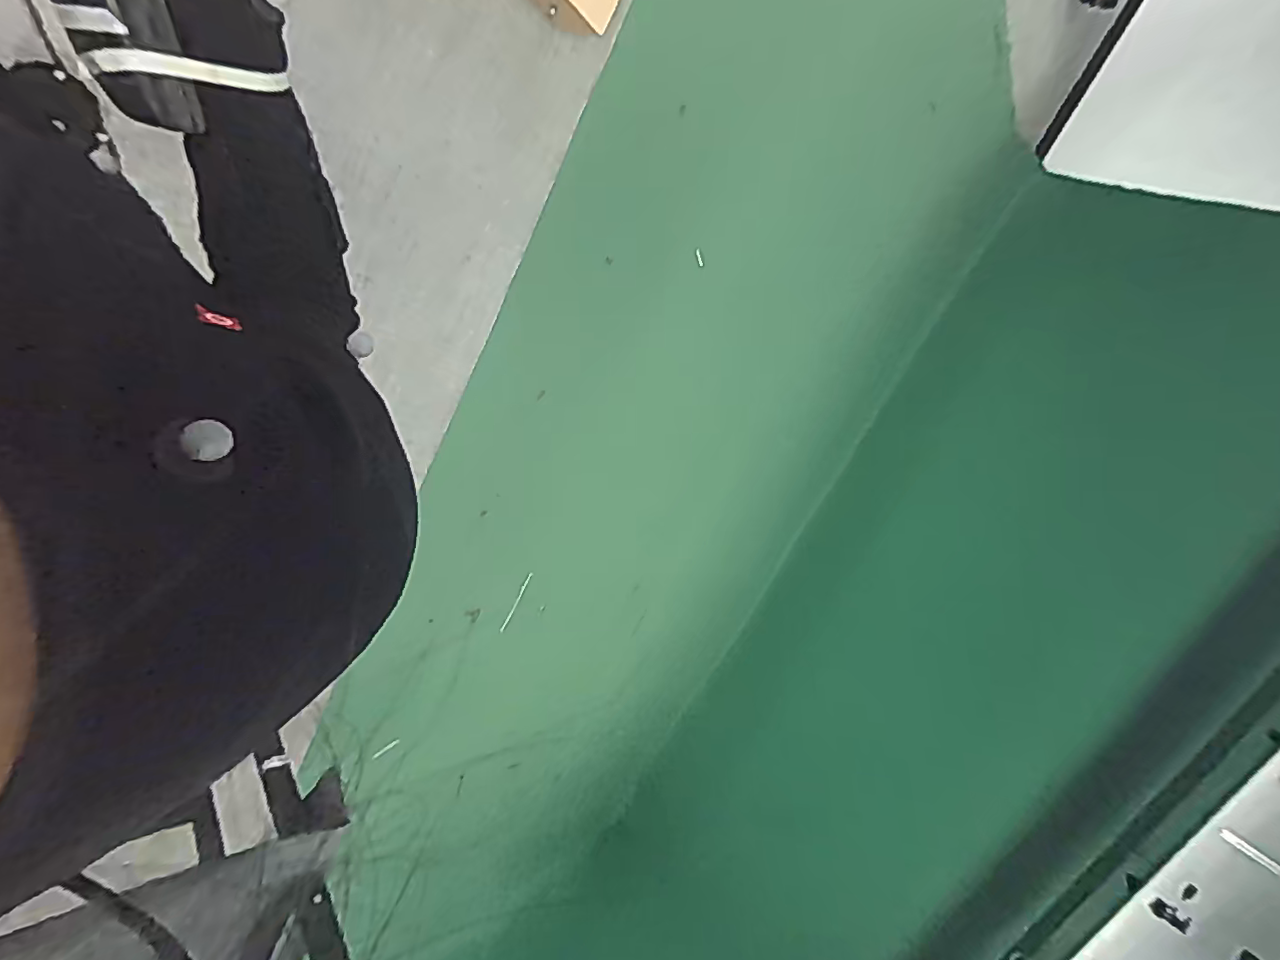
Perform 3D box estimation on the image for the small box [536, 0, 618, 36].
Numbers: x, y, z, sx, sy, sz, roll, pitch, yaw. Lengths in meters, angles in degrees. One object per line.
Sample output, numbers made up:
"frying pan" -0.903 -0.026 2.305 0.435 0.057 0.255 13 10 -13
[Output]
"small box" -0.151 -1.153 1.218 0.168 0.176 0.179 12 112 -53
